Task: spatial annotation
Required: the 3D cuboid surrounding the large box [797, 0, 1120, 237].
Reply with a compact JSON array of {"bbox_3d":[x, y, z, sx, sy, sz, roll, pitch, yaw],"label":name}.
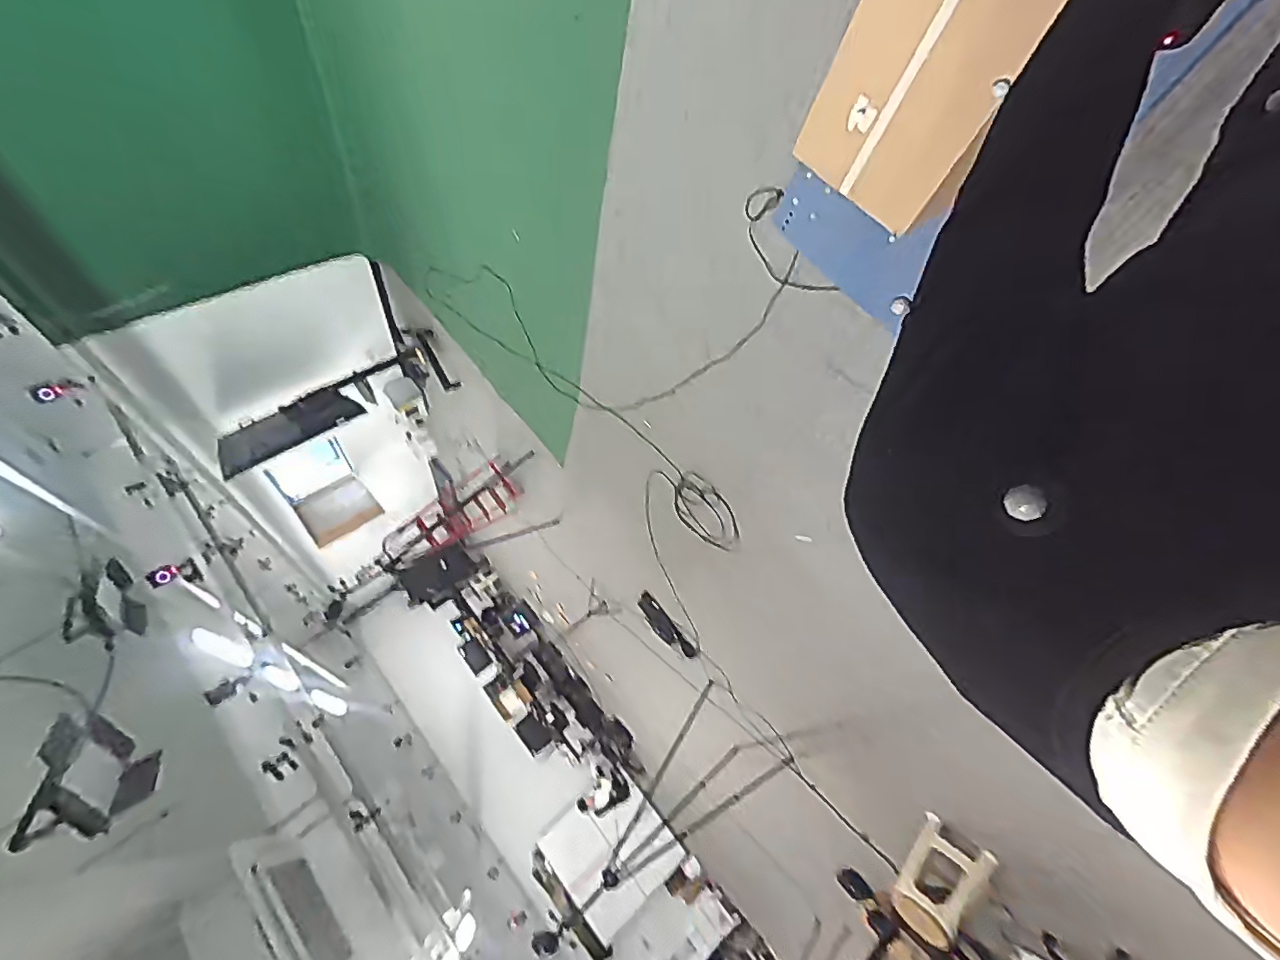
[{"bbox_3d":[0.584,-0.773,1.034,0.320,0.320,0.408,49,153,14],"label":"large box"}]
